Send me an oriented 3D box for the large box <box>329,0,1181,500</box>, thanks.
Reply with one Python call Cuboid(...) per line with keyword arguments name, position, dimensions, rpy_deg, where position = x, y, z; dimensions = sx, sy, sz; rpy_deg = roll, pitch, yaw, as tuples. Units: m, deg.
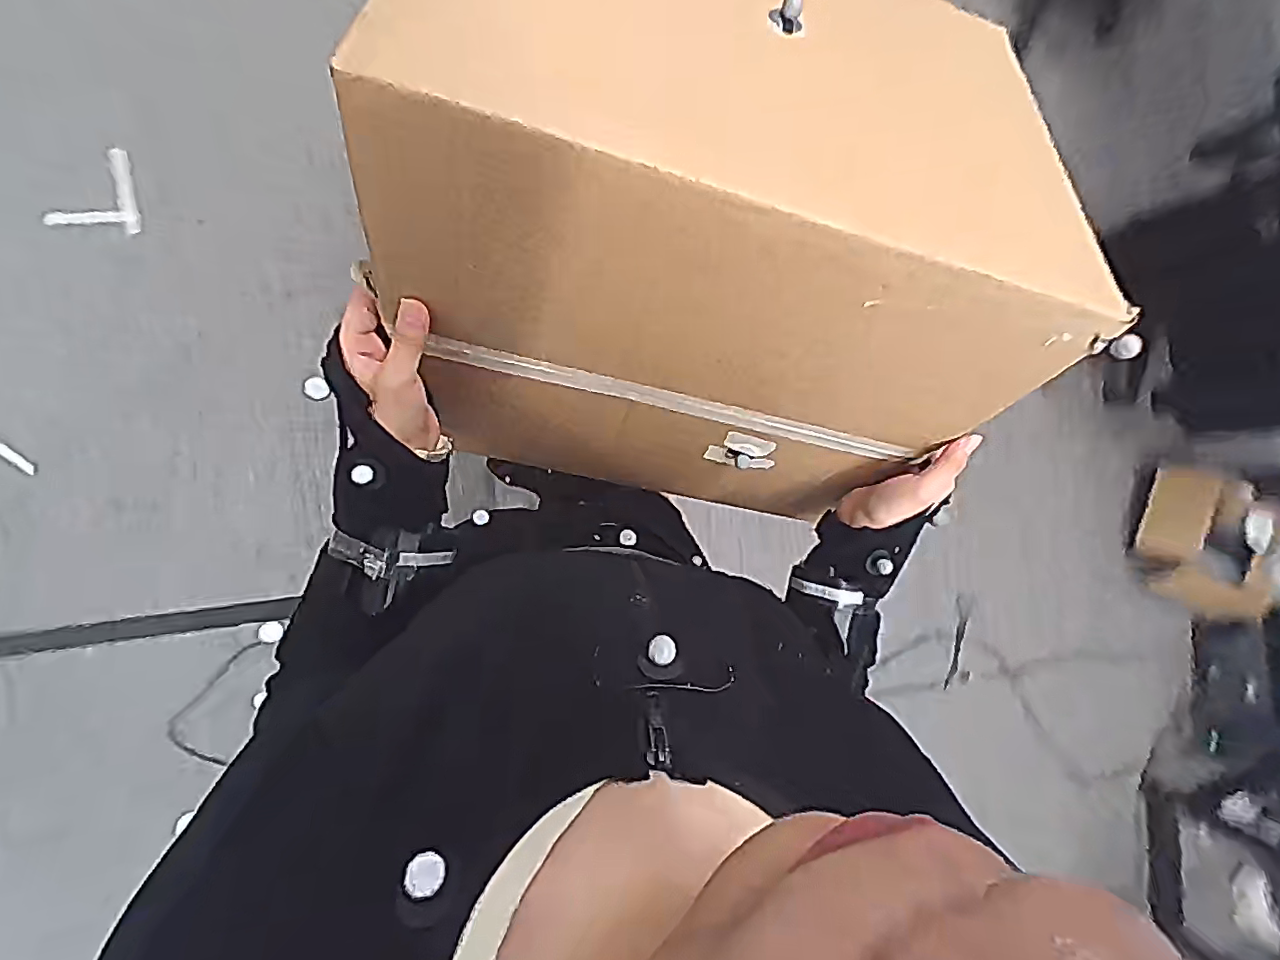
Cuboid(name="large box", position=(0.048, -0.207, 0.428), dimensions=(0.408, 0.320, 0.320), rpy_deg=(9, 64, -12))
